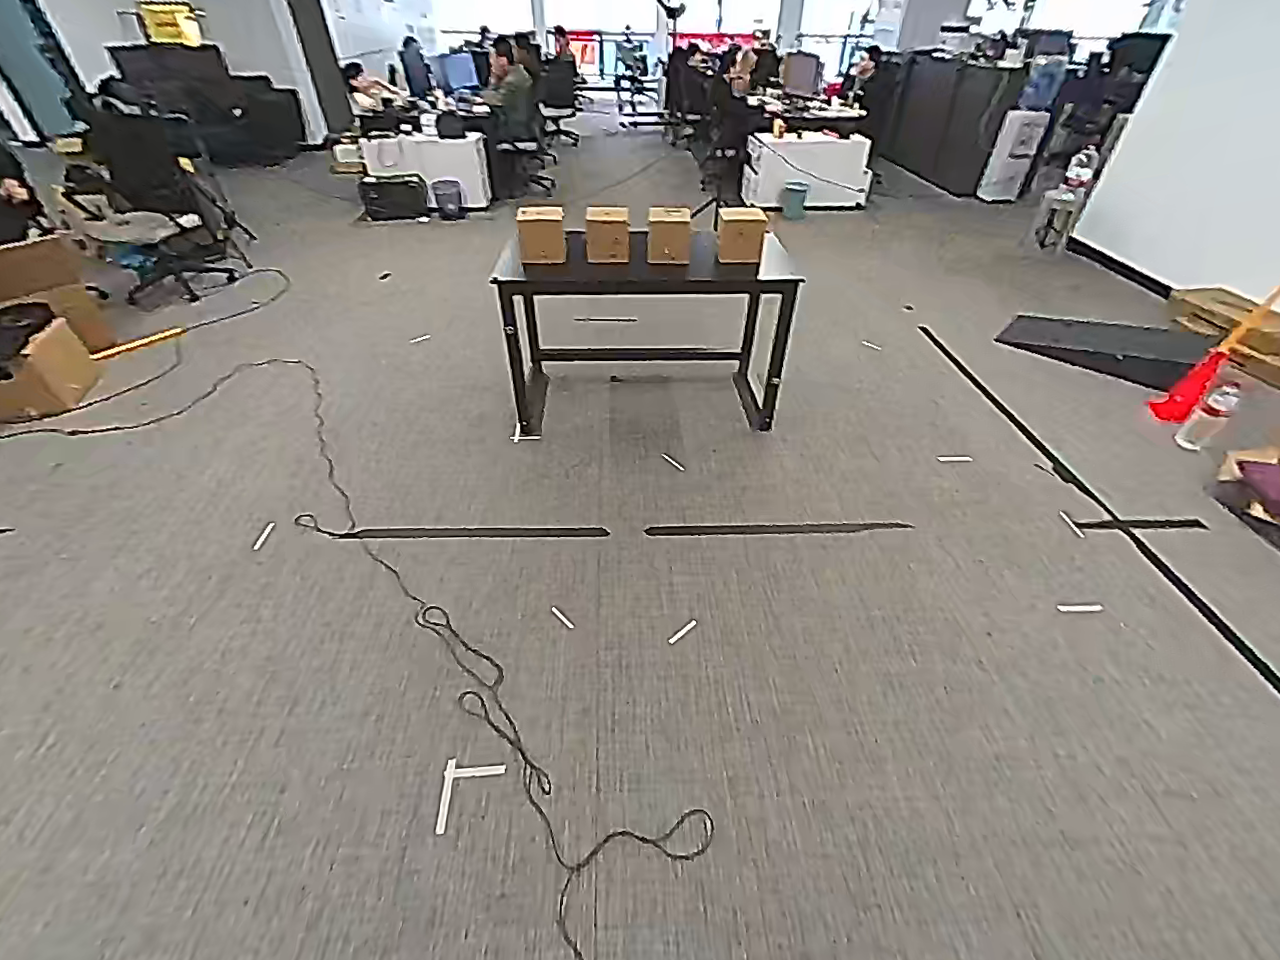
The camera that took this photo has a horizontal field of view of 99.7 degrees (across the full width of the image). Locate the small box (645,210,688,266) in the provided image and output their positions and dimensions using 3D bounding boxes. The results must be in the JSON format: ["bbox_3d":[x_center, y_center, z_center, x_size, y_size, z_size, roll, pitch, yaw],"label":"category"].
[{"bbox_3d":[0.108,-0.993,2.216,0.168,0.176,0.179,2,42,1],"label":"small box"}]

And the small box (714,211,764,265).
[{"bbox_3d":[0.400,-0.996,2.225,0.179,0.176,0.168,0,41,-1],"label":"small box"}]

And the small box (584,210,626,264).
[{"bbox_3d":[-0.141,-0.996,2.218,0.168,0.176,0.179,-1,40,-3],"label":"small box"}]

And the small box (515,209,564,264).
[{"bbox_3d":[-0.403,-0.988,2.199,0.179,0.176,0.168,-2,41,-4],"label":"small box"}]
